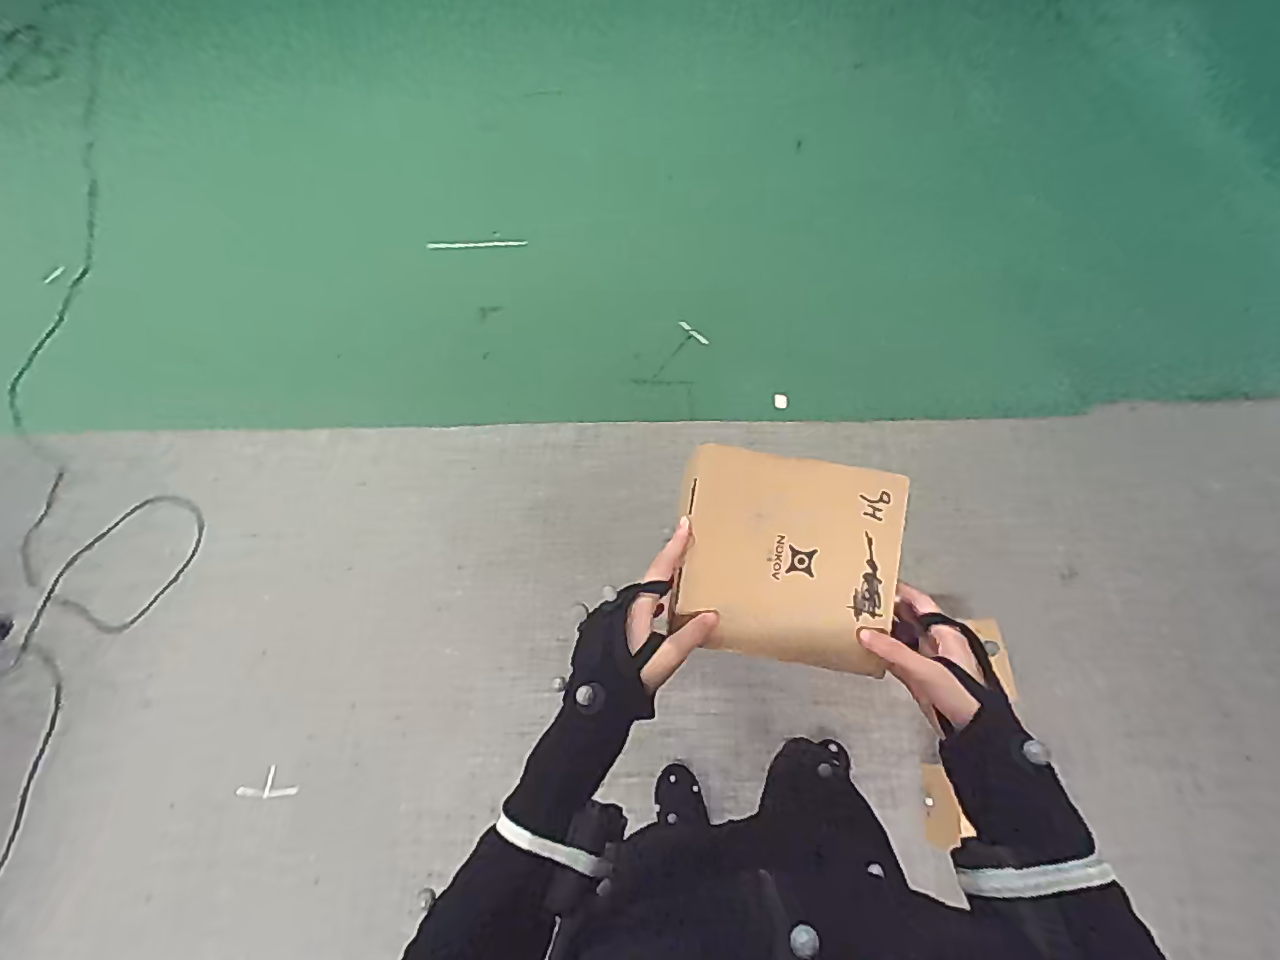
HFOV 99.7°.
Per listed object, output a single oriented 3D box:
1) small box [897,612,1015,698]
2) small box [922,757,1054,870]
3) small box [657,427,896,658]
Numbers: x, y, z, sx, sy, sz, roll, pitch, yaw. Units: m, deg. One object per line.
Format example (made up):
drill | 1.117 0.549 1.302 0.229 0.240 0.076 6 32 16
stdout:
small box | 0.731 0.416 1.272 0.168 0.176 0.179 -1 64 2
small box | 0.725 0.694 1.145 0.179 0.176 0.168 7 65 7
small box | 0.115 0.056 0.520 0.179 0.176 0.168 9 86 2
